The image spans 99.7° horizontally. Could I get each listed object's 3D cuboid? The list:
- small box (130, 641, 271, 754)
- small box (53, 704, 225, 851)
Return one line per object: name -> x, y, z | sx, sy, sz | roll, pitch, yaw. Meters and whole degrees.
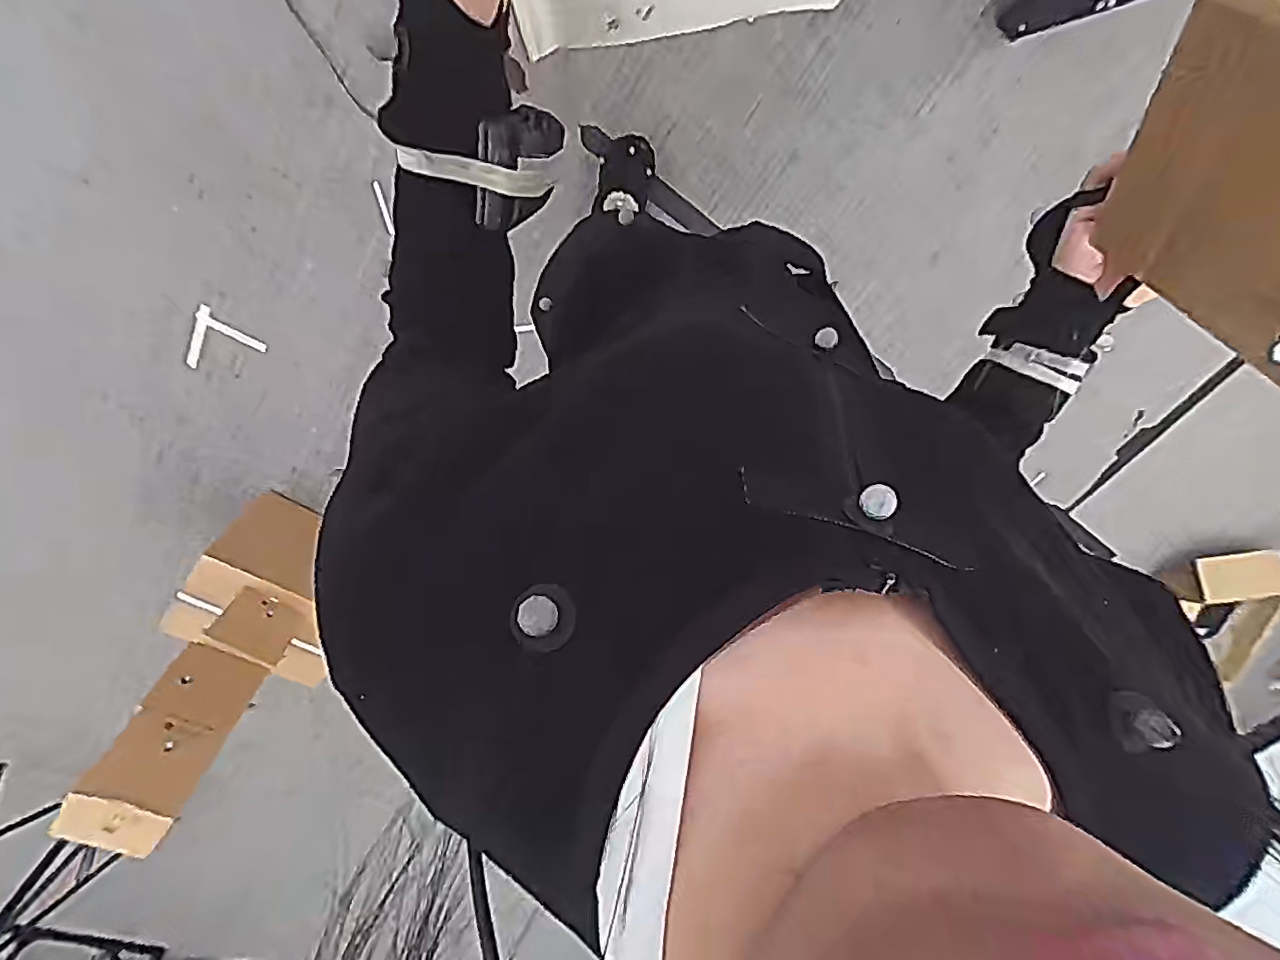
small box -> -0.968, 0.484, 1.192 | 0.179, 0.176, 0.168 | 32, 114, -22
small box -> -0.963, 0.578, 1.056 | 0.168, 0.176, 0.179 | 35, 113, -22
